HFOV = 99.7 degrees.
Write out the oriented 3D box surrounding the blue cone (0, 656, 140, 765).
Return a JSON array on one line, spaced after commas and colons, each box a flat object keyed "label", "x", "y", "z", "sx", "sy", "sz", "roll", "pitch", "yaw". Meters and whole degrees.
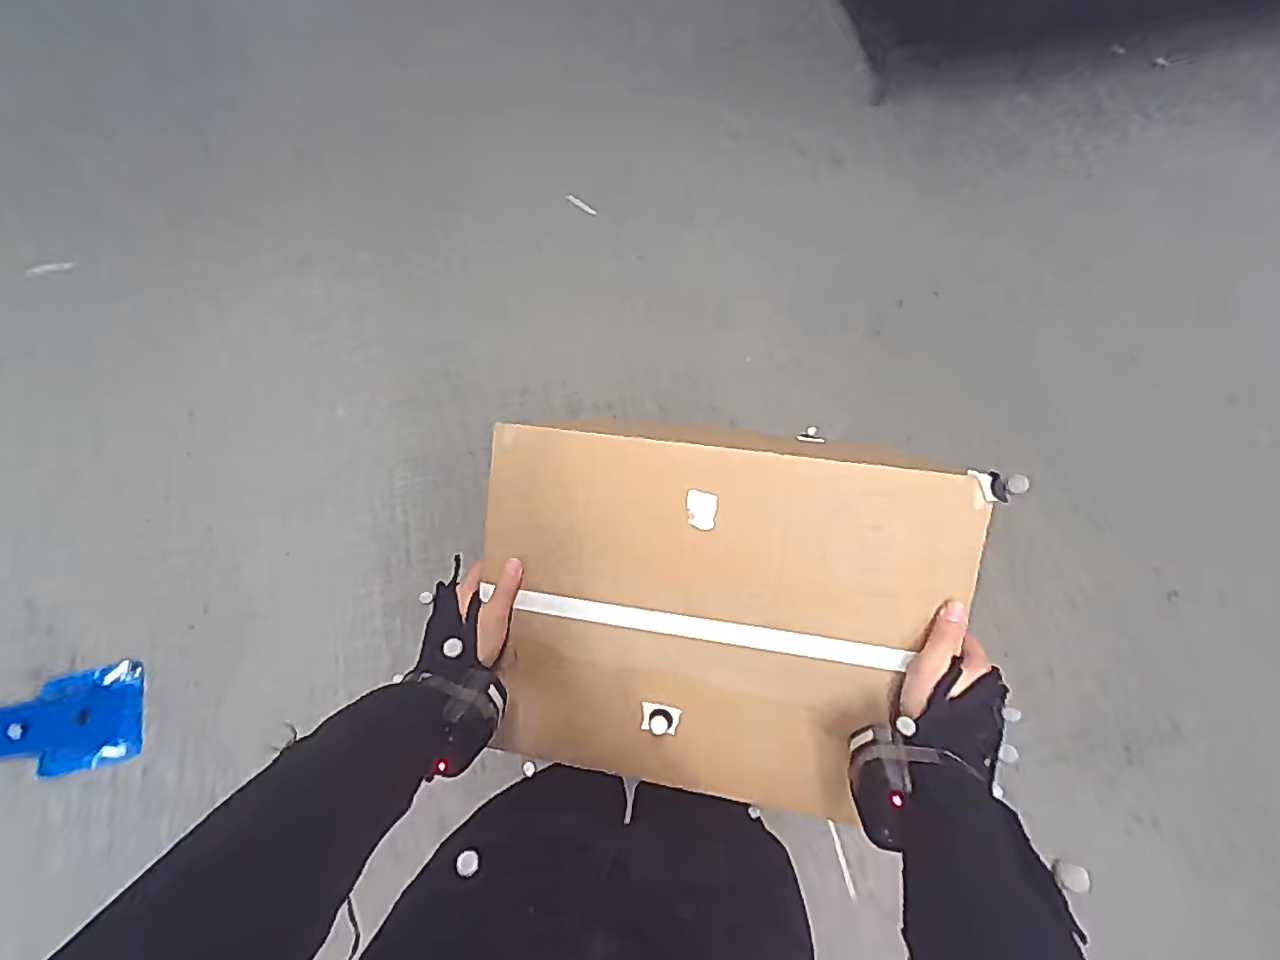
[{"label": "blue cone", "x": -1.150, "y": 0.434, "z": 0.979, "sx": 0.193, "sy": 0.380, "sz": 0.192, "roll": -10, "pitch": 73, "yaw": -5}]
